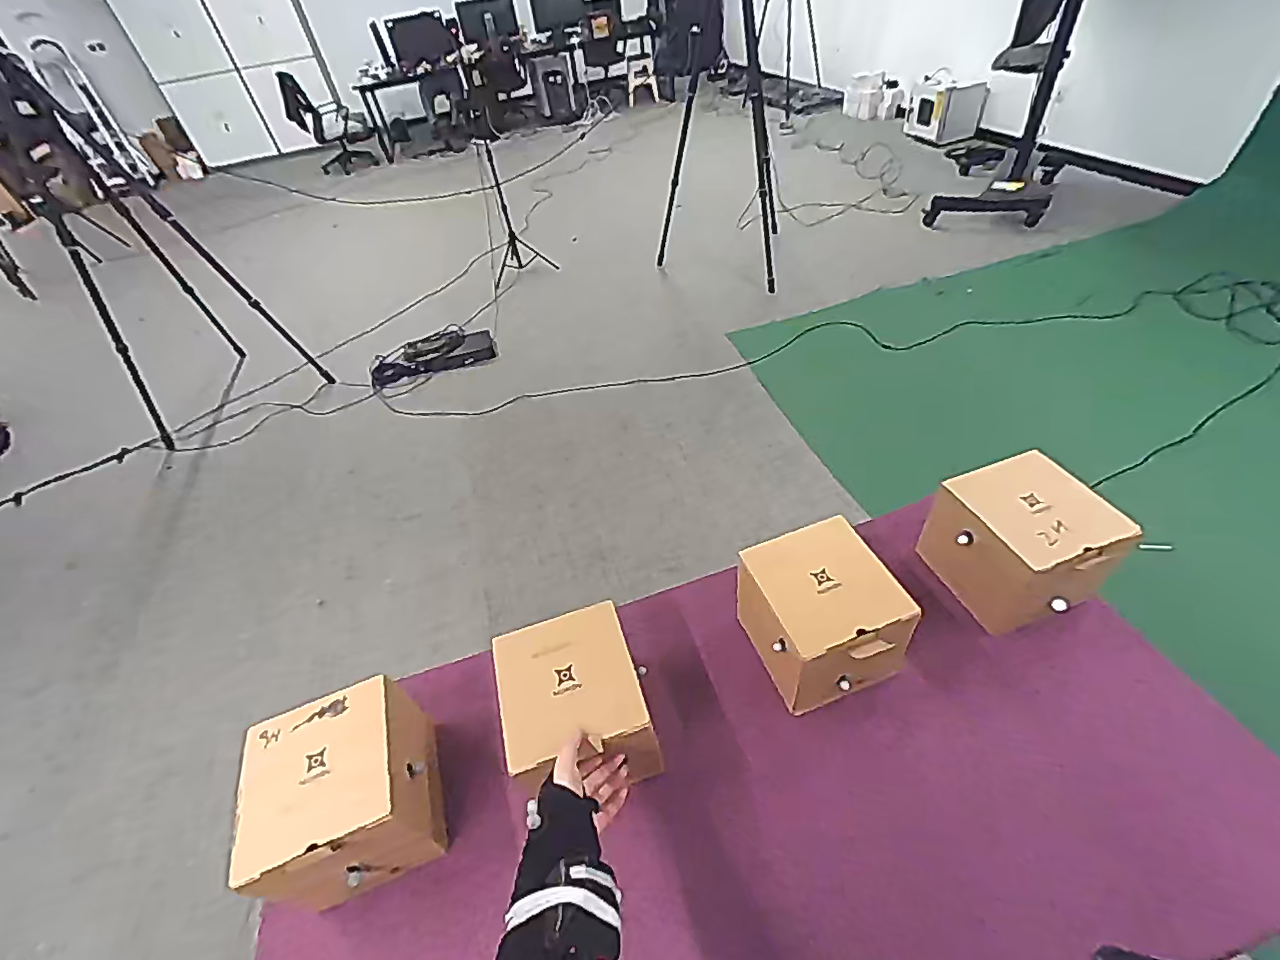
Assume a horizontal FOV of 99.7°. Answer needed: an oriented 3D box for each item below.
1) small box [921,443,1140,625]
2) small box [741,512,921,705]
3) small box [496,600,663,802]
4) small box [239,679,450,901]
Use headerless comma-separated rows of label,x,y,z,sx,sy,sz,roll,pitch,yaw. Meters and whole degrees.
small box,0.550,0.079,0.797,0.168,0.176,0.179,-19,46,-6
small box,0.251,0.181,0.761,0.168,0.176,0.179,-20,46,-9
small box,-0.076,0.296,0.711,0.168,0.176,0.179,-17,45,-8
small box,-0.351,0.387,0.671,0.168,0.176,0.179,-21,47,-11
